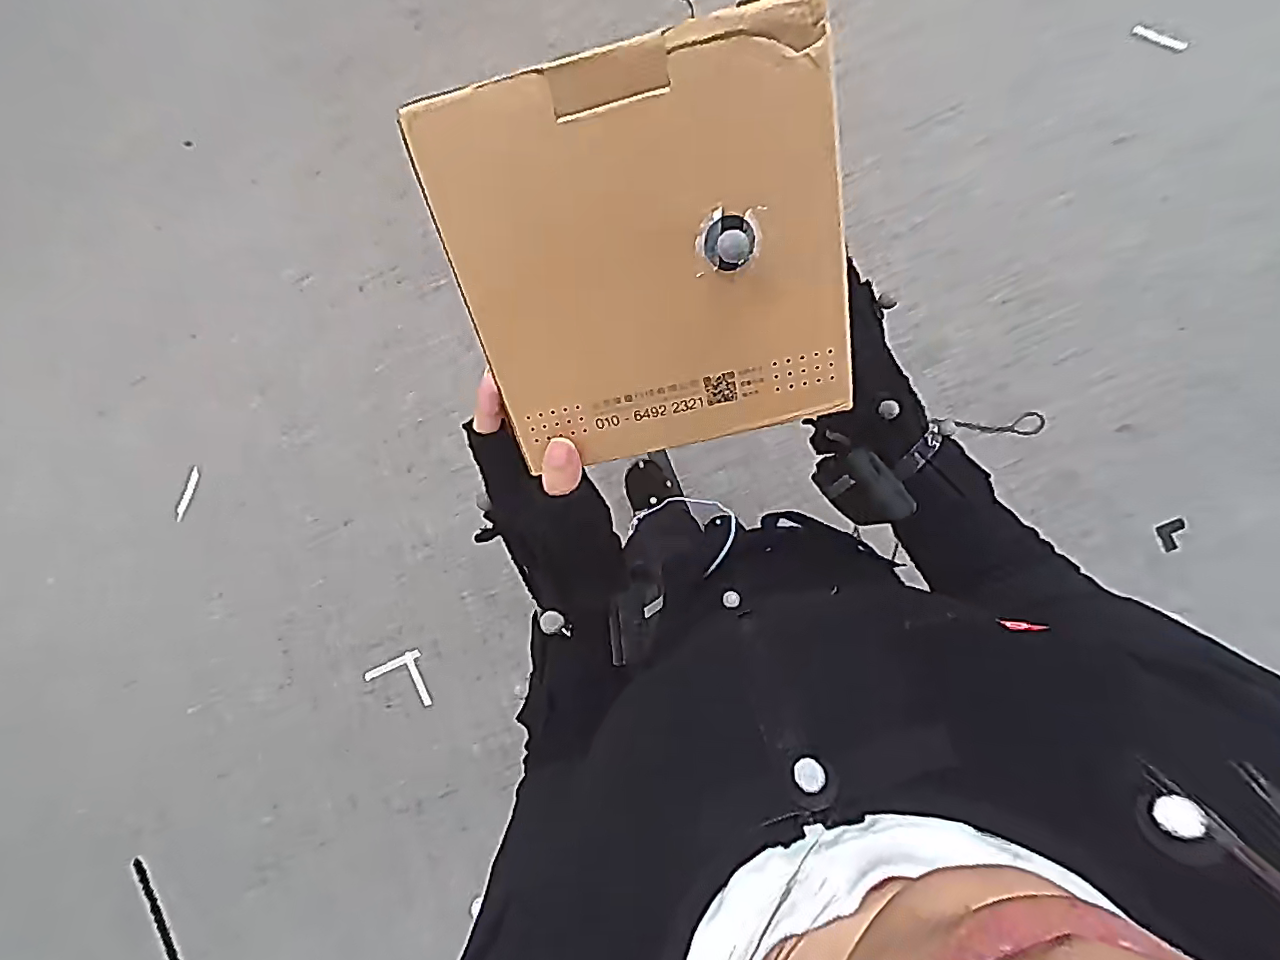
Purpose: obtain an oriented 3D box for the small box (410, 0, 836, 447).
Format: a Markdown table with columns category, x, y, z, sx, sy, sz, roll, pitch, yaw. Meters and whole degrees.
| category | x | y | z | sx | sy | sz | roll | pitch | yaw |
| --- | --- | --- | --- | --- | --- | --- | --- | --- | --- |
| small box | 0.007 | -0.129 | 0.314 | 0.168 | 0.179 | 0.176 | -11 | 118 | 8 |
